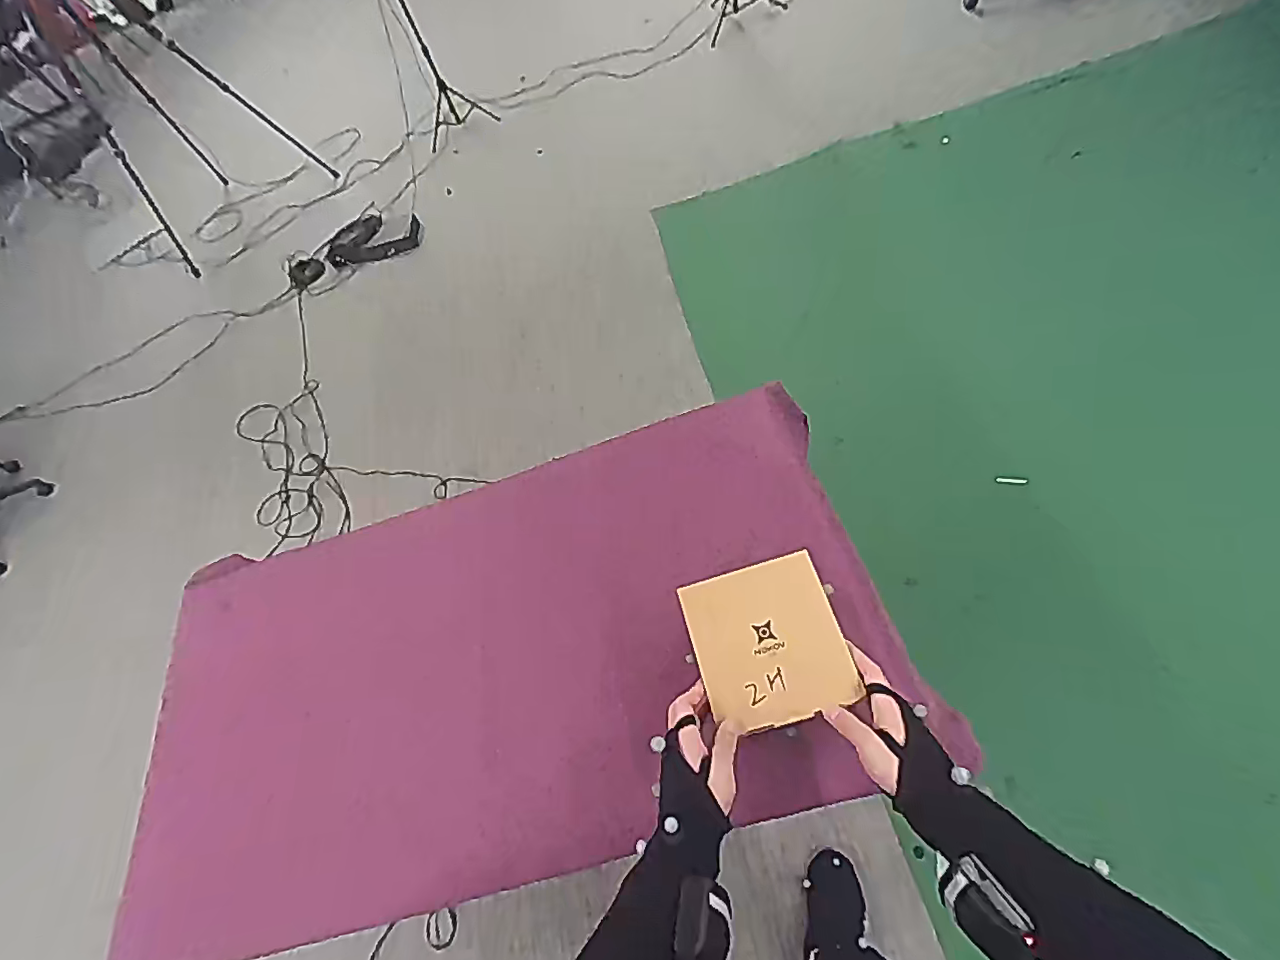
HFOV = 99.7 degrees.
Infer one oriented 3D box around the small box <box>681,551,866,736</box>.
[{"bbox_3d":[0.160,0.215,0.686,0.168,0.176,0.179,-18,63,5],"label":"small box"}]
